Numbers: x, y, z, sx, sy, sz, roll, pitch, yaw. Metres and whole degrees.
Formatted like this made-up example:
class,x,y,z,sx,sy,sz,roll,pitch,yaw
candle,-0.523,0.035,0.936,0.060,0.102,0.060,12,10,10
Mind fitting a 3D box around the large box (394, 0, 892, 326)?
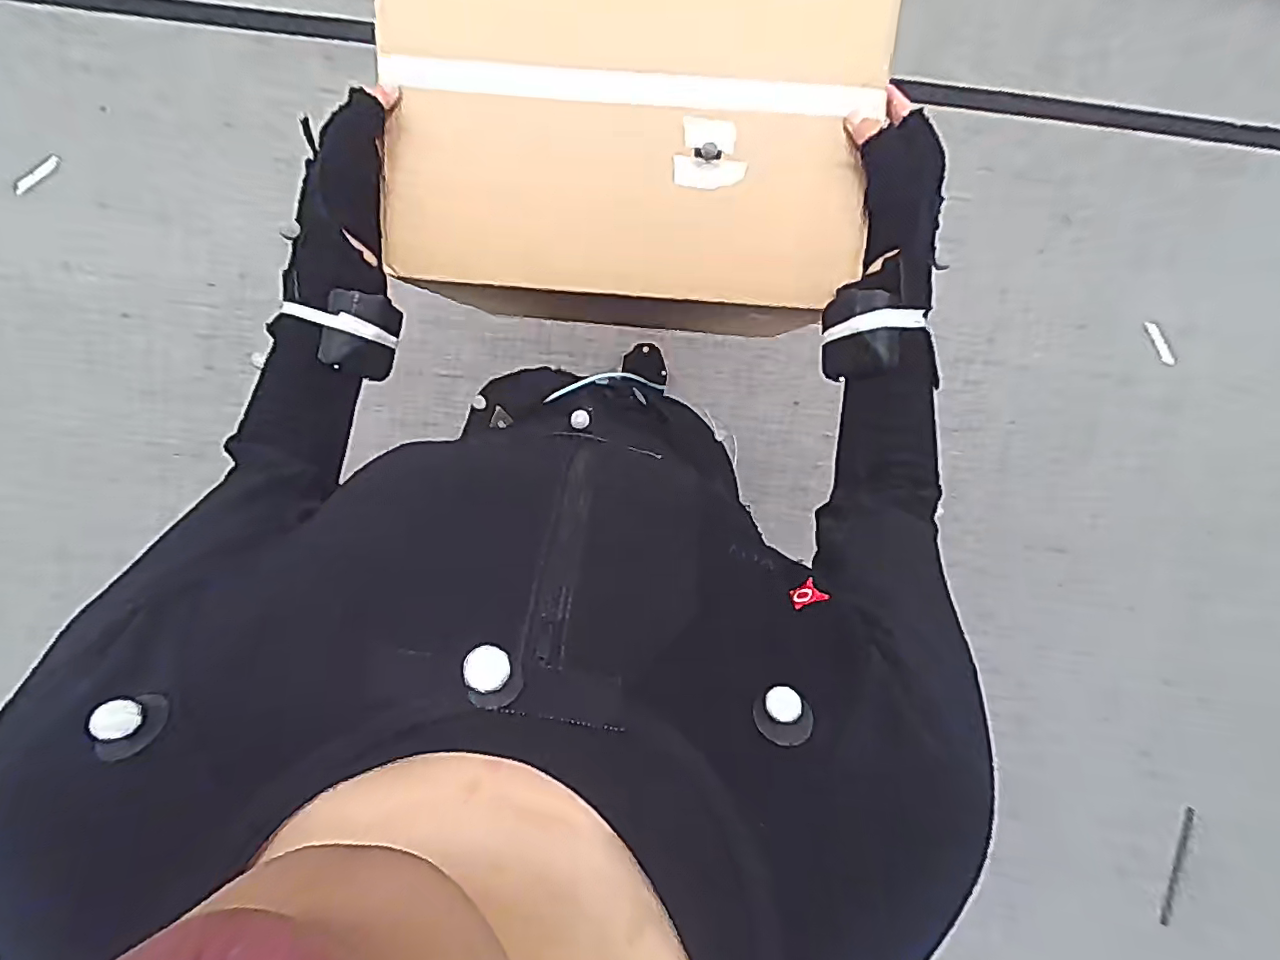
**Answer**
class,x,y,z,sx,sy,sz,roll,pitch,yaw
large box,-0.003,-0.350,0.588,0.408,0.320,0.320,5,102,0
